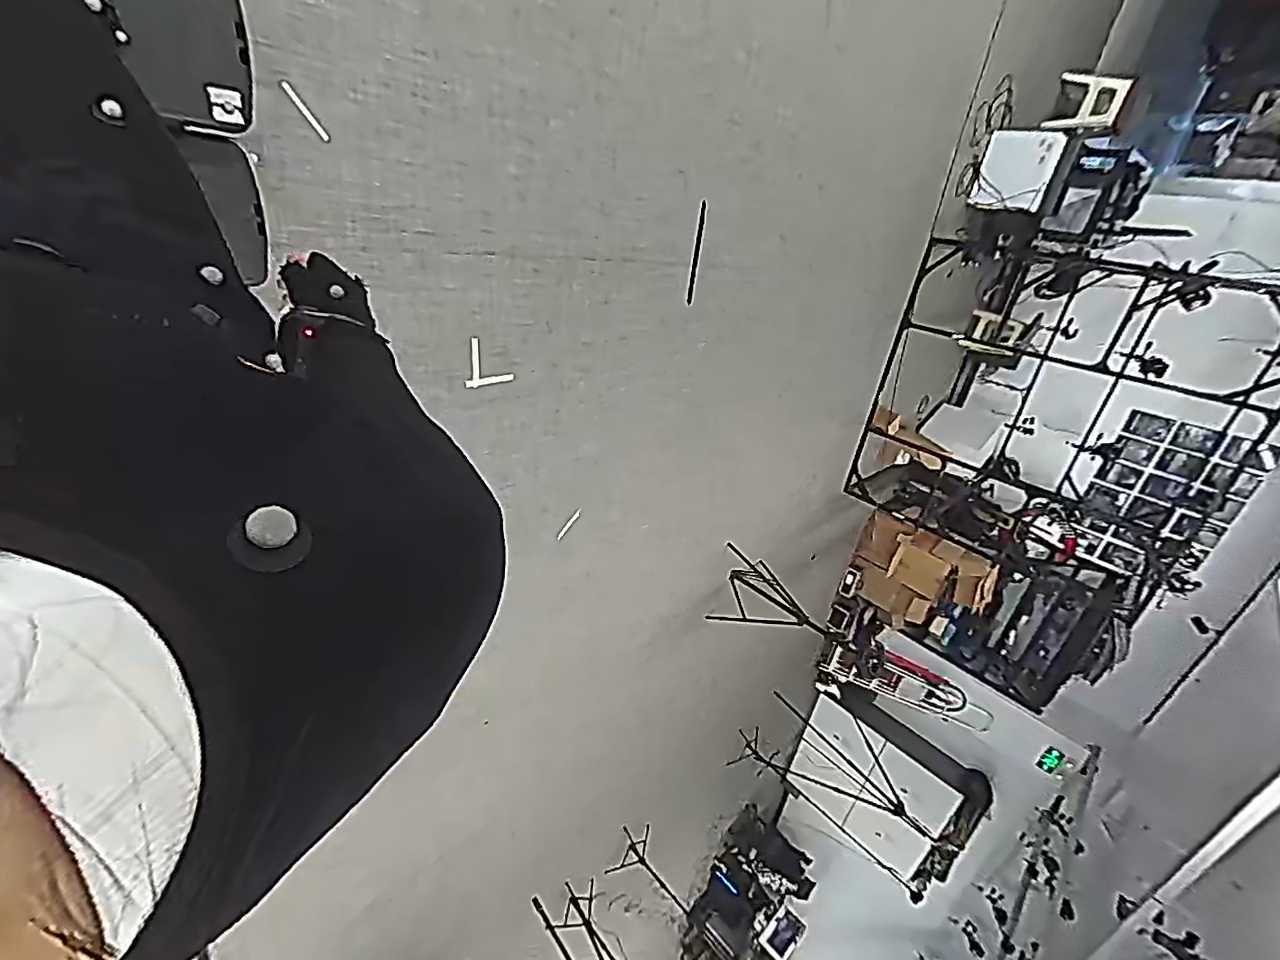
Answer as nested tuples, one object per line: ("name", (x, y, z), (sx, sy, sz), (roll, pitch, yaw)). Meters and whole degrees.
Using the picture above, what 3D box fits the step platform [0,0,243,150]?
("step platform", (-0.999, -0.690, 0.780), (0.684, 0.204, 0.286), (-20, 129, -42))
